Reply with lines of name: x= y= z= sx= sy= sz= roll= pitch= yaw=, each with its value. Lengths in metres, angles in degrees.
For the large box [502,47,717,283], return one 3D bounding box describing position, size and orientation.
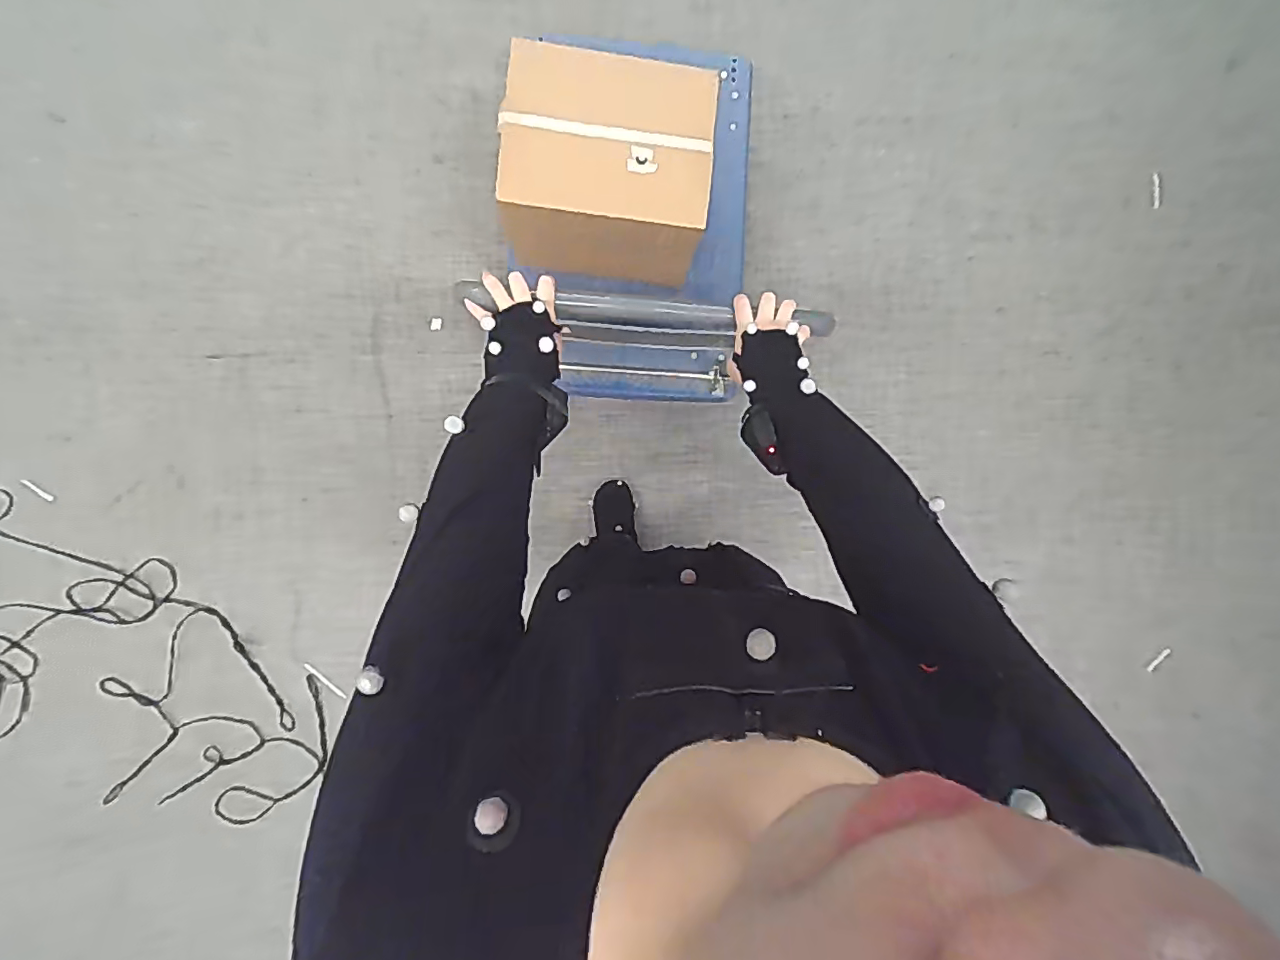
large box: x=-0.072 y=-0.663 z=1.199 sx=0.408 sy=0.320 sz=0.320 roll=6 pitch=89 yaw=-5
